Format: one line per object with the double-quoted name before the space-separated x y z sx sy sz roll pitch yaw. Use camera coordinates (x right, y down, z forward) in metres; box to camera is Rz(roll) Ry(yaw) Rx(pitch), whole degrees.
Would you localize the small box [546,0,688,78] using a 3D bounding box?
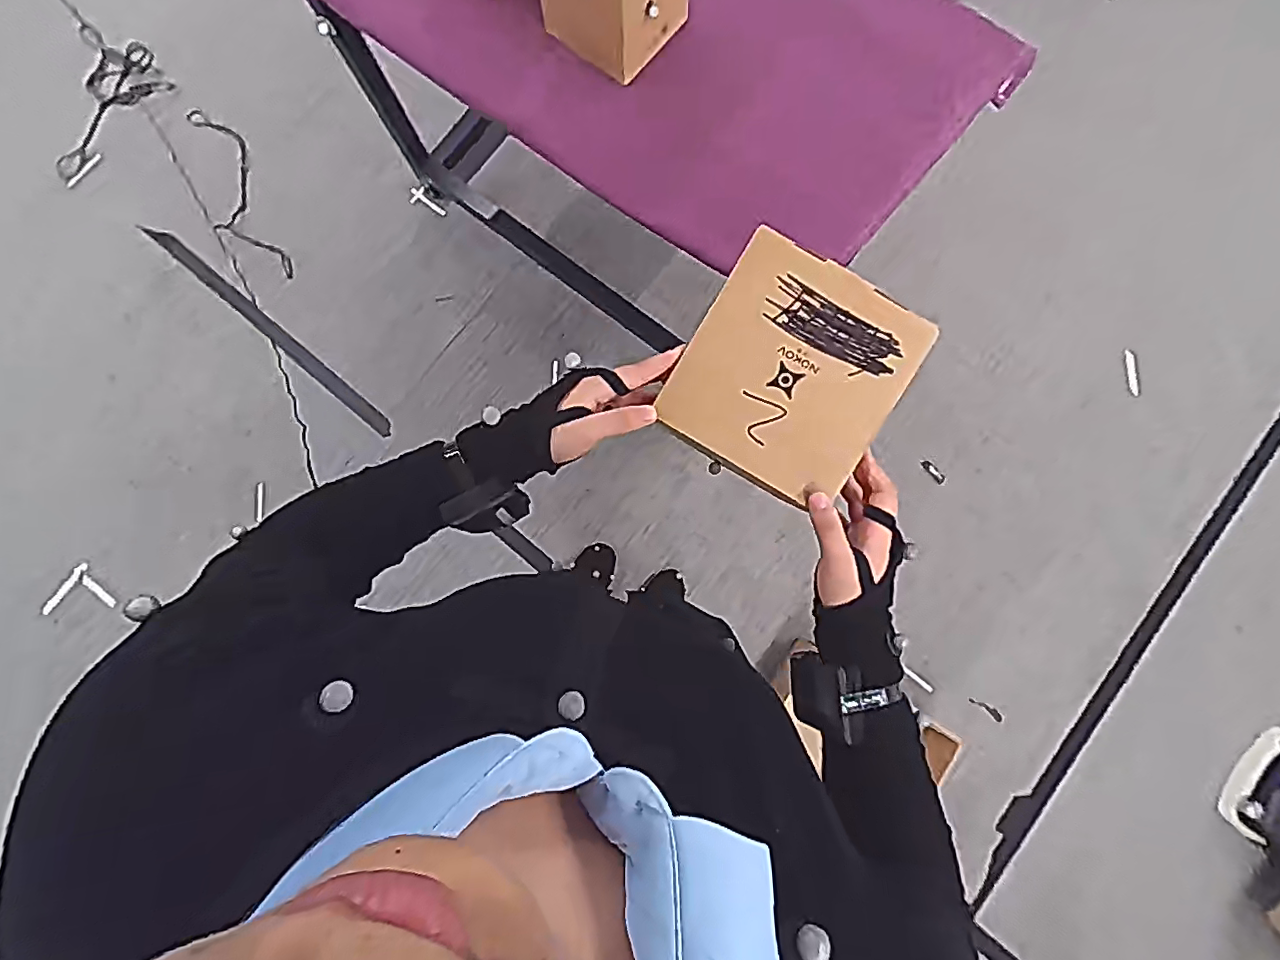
"small box" -0.034 -0.769 0.824 0.179 0.176 0.168 39 84 5
